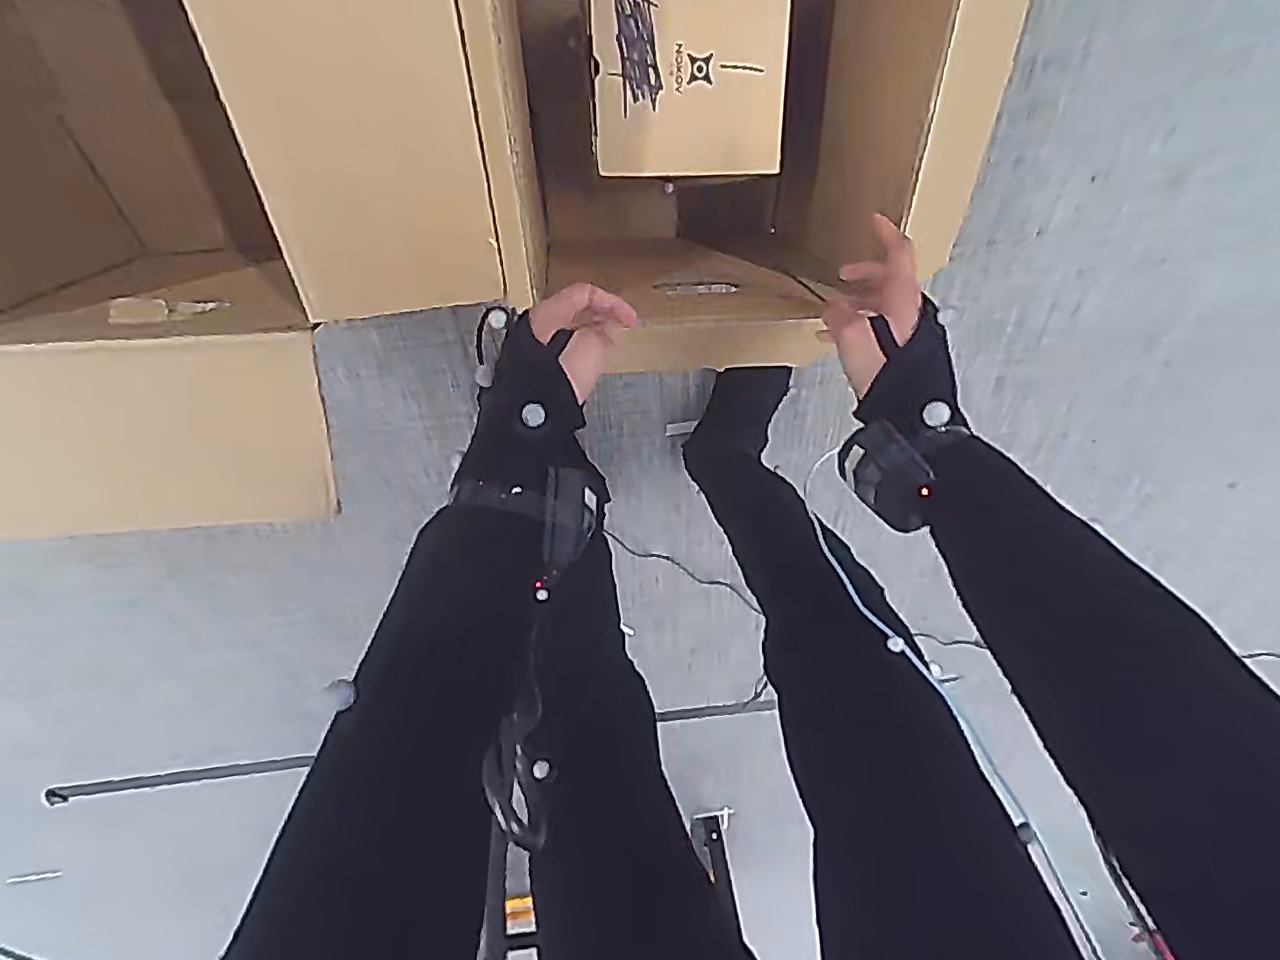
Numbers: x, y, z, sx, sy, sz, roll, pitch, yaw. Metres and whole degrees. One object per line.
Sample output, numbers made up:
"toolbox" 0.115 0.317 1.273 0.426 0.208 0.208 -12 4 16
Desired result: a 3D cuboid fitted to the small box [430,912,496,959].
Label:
"small box" -0.559 1.493 1.705 0.168 0.176 0.179 -5 127 -4
